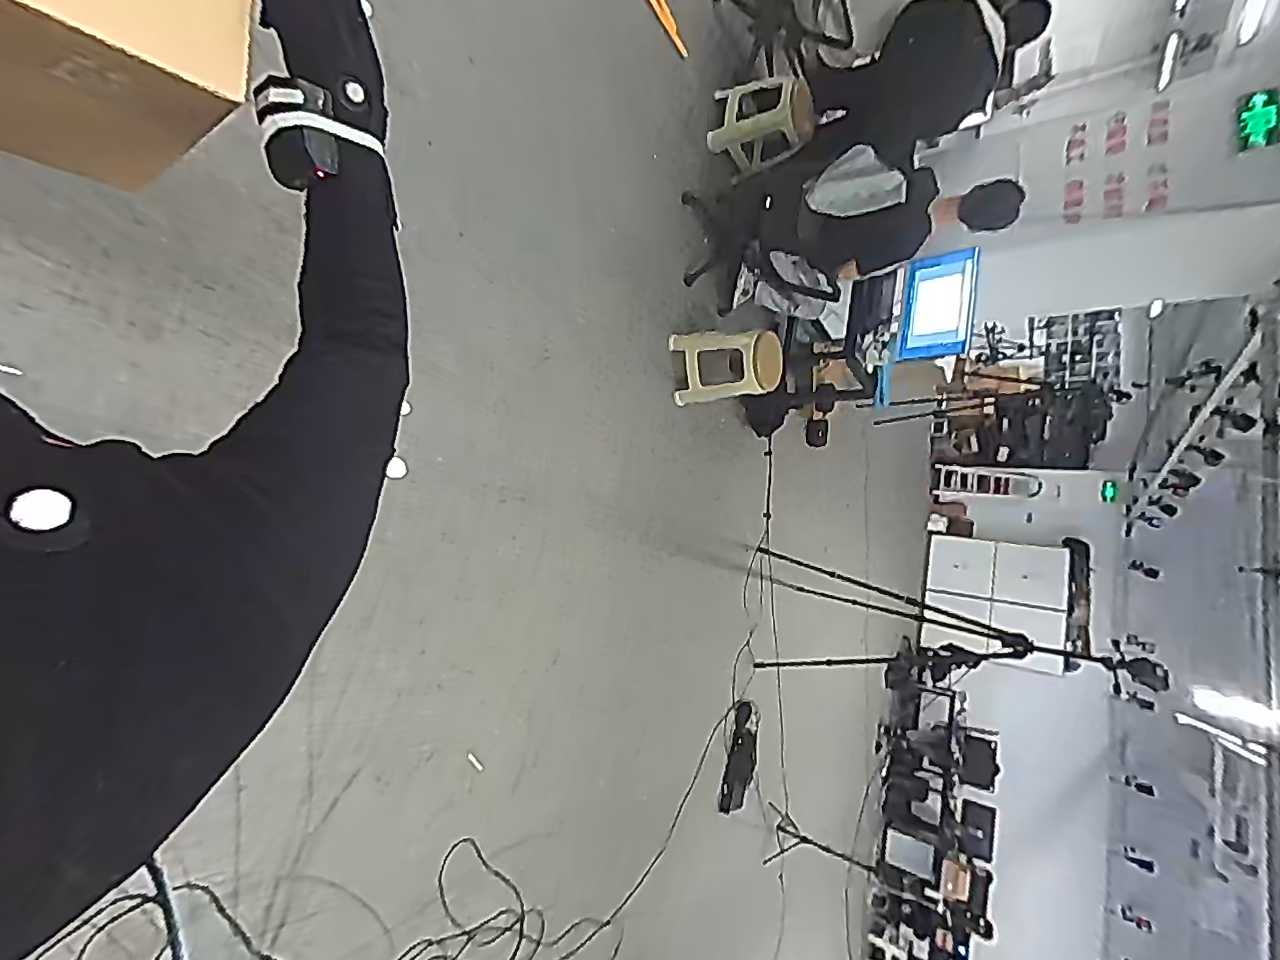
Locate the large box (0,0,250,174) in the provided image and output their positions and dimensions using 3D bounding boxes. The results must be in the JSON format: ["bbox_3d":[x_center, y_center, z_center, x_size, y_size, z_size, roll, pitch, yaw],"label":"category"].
[{"bbox_3d":[-0.507,-0.441,0.300,0.408,0.320,0.320,-1,98,-54],"label":"large box"}]
